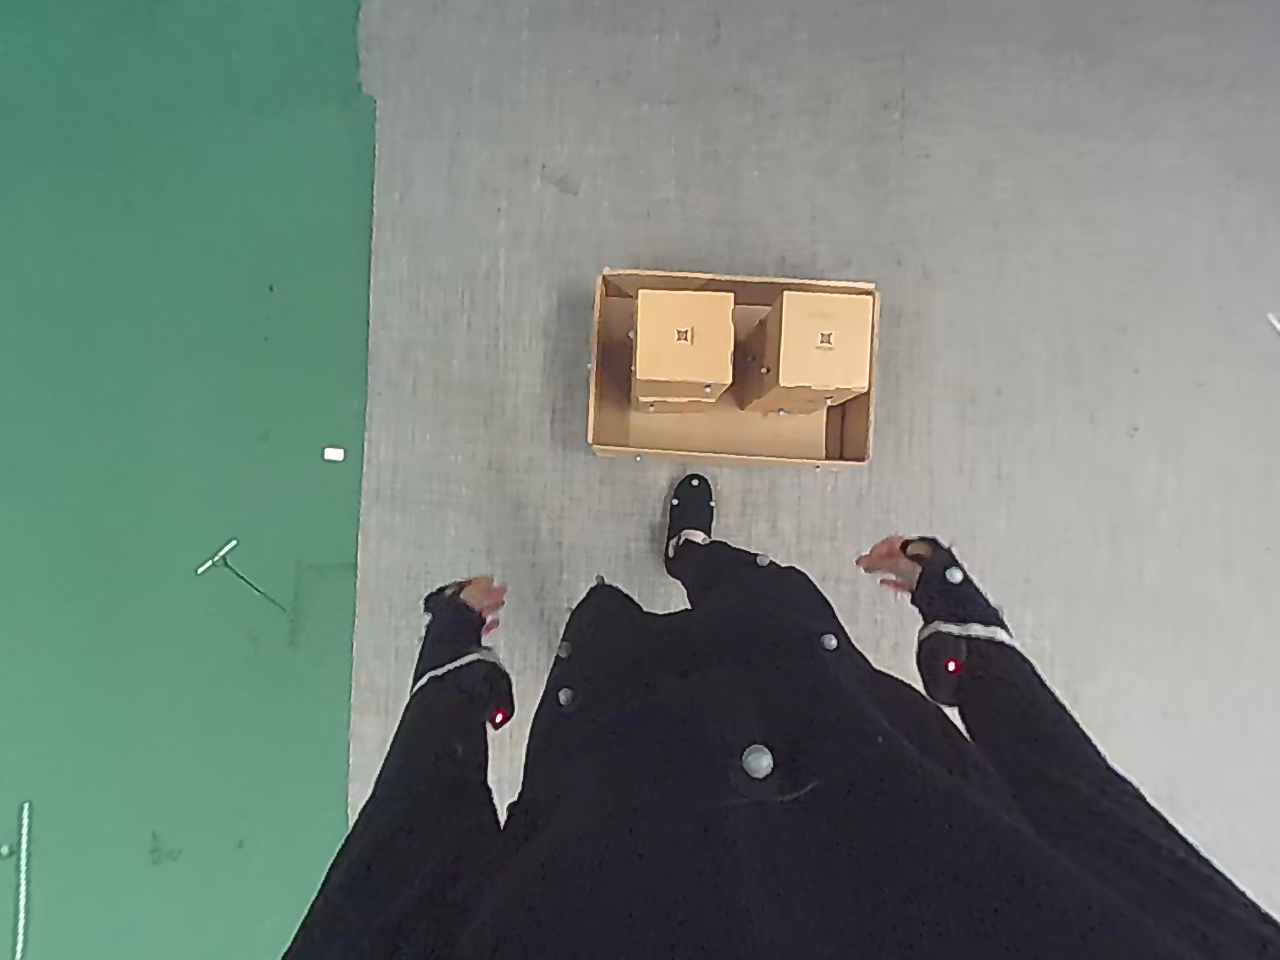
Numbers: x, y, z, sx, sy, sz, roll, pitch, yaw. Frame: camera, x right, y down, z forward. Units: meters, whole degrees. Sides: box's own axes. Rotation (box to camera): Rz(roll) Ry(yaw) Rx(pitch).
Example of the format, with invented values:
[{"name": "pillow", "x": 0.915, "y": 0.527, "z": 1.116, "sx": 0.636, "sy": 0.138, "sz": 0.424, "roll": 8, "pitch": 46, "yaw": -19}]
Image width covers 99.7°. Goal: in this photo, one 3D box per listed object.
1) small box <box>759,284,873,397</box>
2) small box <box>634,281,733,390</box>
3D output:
[{"name": "small box", "x": 0.334, "y": -0.263, "z": 1.058, "sx": 0.168, "sy": 0.176, "sz": 0.179, "roll": 4, "pitch": 90, "yaw": 0}, {"name": "small box", "x": 0.079, "y": -0.274, "z": 1.057, "sx": 0.179, "sy": 0.176, "sz": 0.168, "roll": 2, "pitch": 89, "yaw": -1}]
